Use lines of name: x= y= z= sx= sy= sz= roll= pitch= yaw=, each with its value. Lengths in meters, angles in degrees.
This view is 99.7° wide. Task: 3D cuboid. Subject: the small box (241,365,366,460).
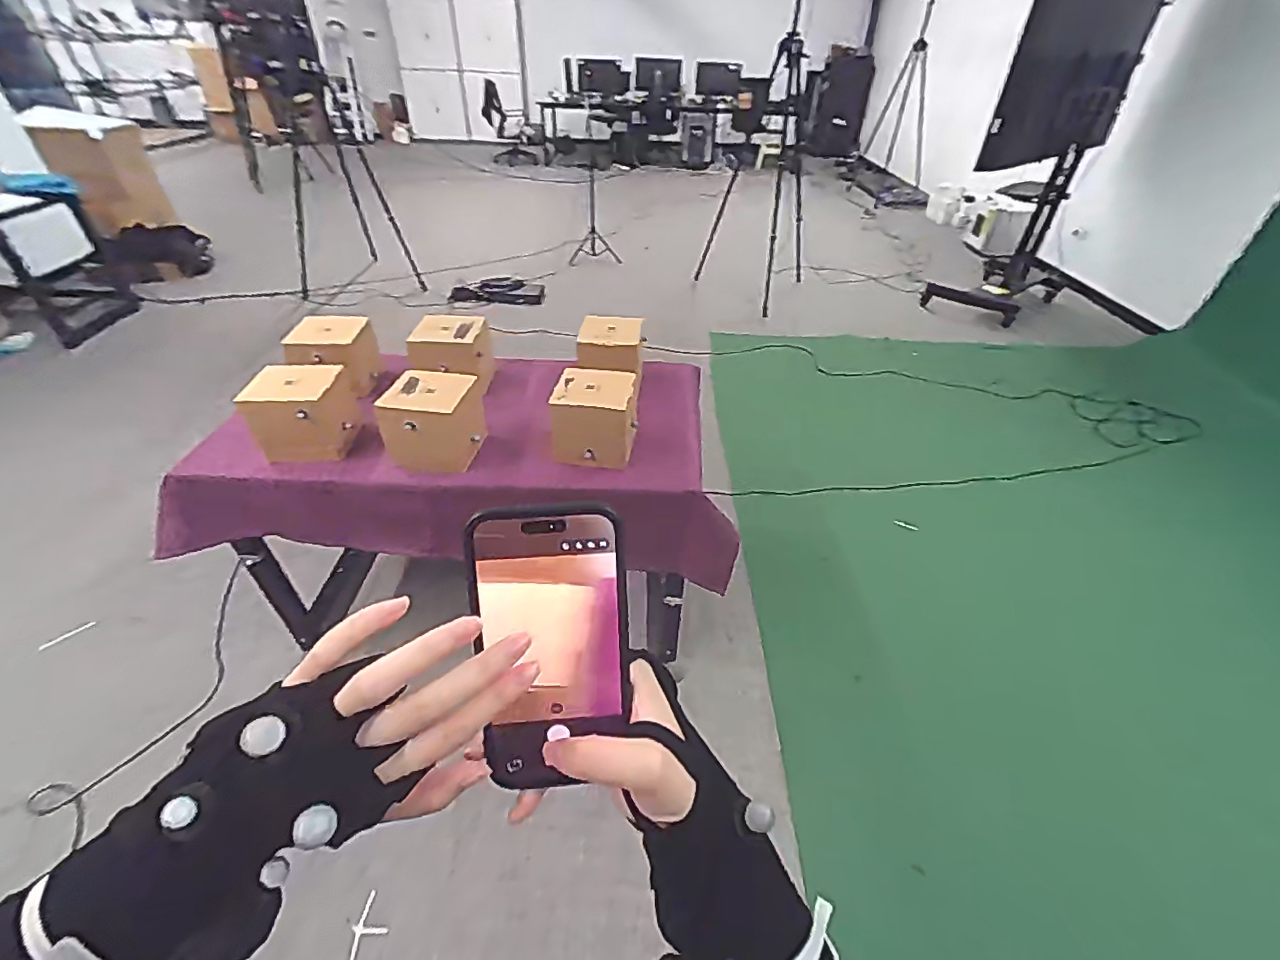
small box: x=-0.781 y=-0.159 z=1.276 sx=0.179 sy=0.176 sz=0.168 roll=0 pitch=39 yaw=-5

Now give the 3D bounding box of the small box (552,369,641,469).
small box: x=-0.098 y=-0.144 z=1.288 sx=0.179 sy=0.176 sz=0.168 roll=7 pitch=40 yaw=5

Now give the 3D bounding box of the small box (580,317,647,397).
small box: x=-0.073 y=-0.344 z=1.529 sx=0.168 sy=0.176 sz=0.179 roll=4 pitch=41 yaw=3

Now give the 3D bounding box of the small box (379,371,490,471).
small box: x=-0.468 y=-0.137 z=1.264 sx=0.179 sy=0.176 sz=0.168 roll=7 pitch=40 yaw=4
